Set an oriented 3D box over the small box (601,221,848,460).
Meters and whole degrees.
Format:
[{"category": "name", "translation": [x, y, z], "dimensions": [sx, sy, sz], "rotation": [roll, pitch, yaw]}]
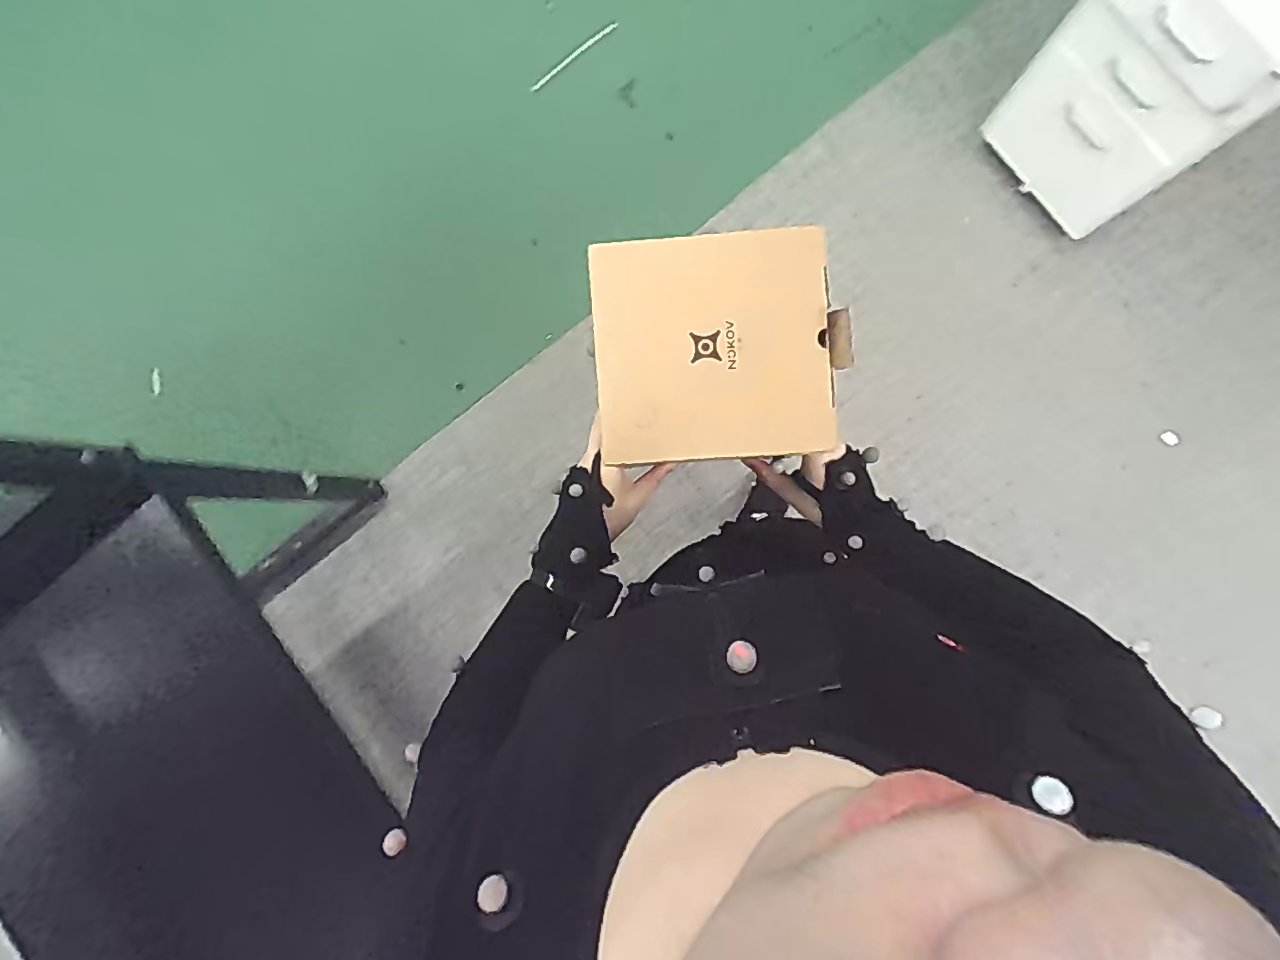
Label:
[{"category": "small box", "translation": [0.066, -0.104, 0.476], "dimensions": [0.179, 0.176, 0.168], "rotation": [-3, 92, 2]}]
